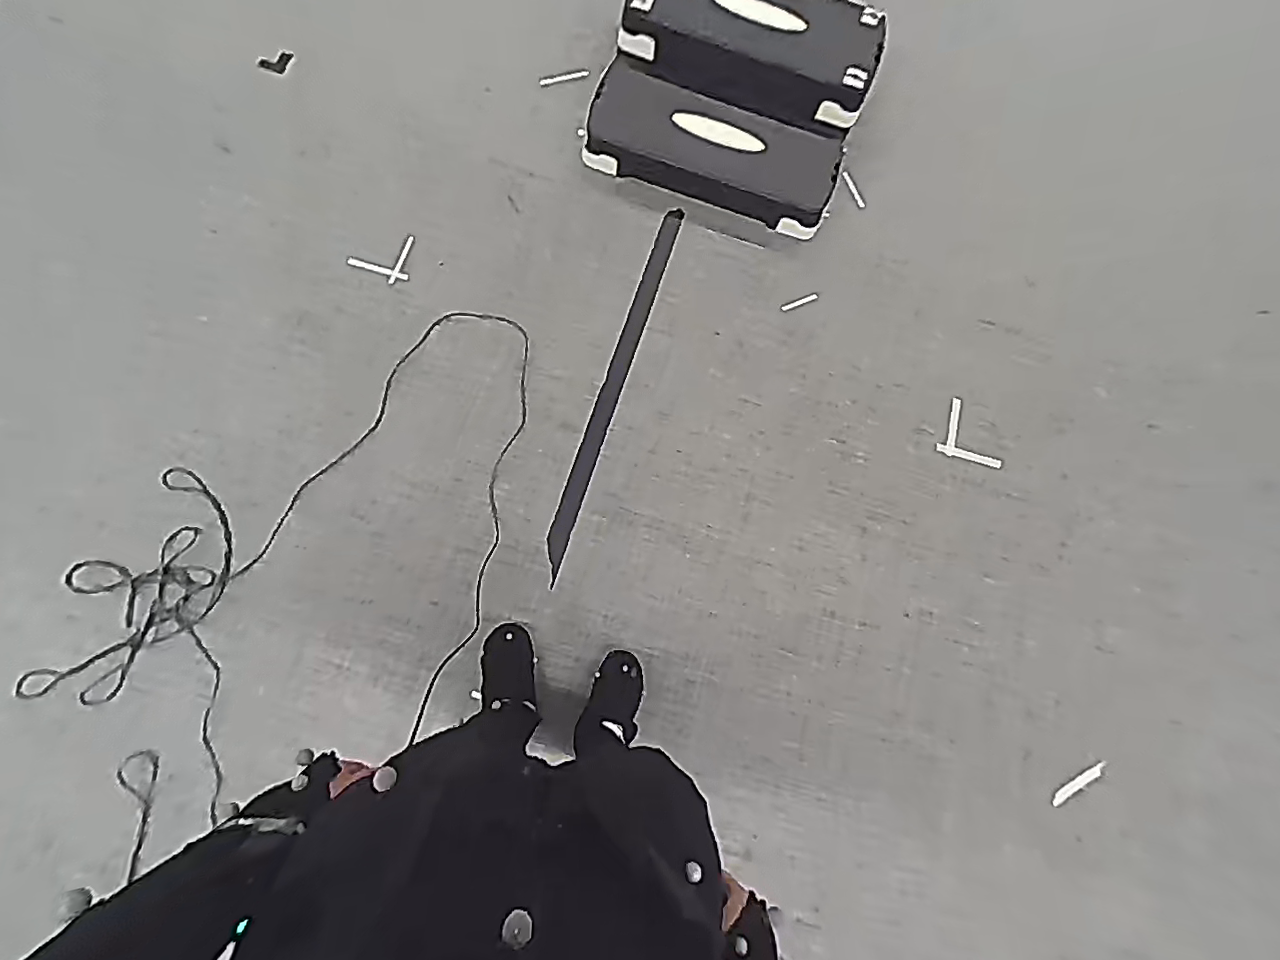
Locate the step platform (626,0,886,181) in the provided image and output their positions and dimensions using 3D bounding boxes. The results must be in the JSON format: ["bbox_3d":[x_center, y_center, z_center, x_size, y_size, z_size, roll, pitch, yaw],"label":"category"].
[{"bbox_3d":[0.312,-1.113,1.492,0.684,0.204,0.286,23,76,-1],"label":"step platform"}]
